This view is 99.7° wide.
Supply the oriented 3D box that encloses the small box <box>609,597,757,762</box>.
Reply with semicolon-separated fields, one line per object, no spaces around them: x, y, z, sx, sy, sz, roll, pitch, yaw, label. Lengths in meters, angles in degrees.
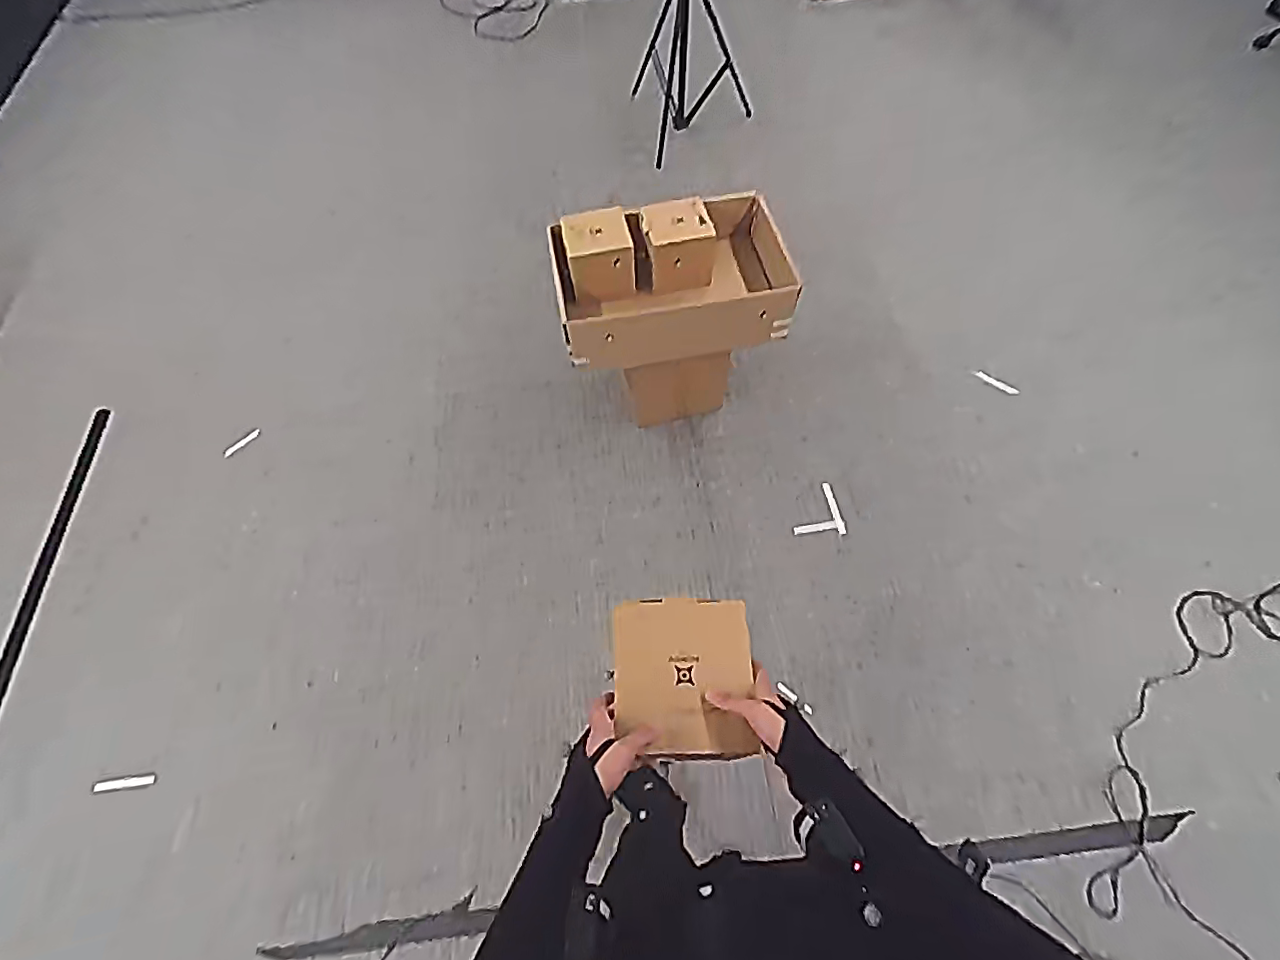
0.044;0.263;0.703;0.168;0.176;0.179;1;60;-2;small box
